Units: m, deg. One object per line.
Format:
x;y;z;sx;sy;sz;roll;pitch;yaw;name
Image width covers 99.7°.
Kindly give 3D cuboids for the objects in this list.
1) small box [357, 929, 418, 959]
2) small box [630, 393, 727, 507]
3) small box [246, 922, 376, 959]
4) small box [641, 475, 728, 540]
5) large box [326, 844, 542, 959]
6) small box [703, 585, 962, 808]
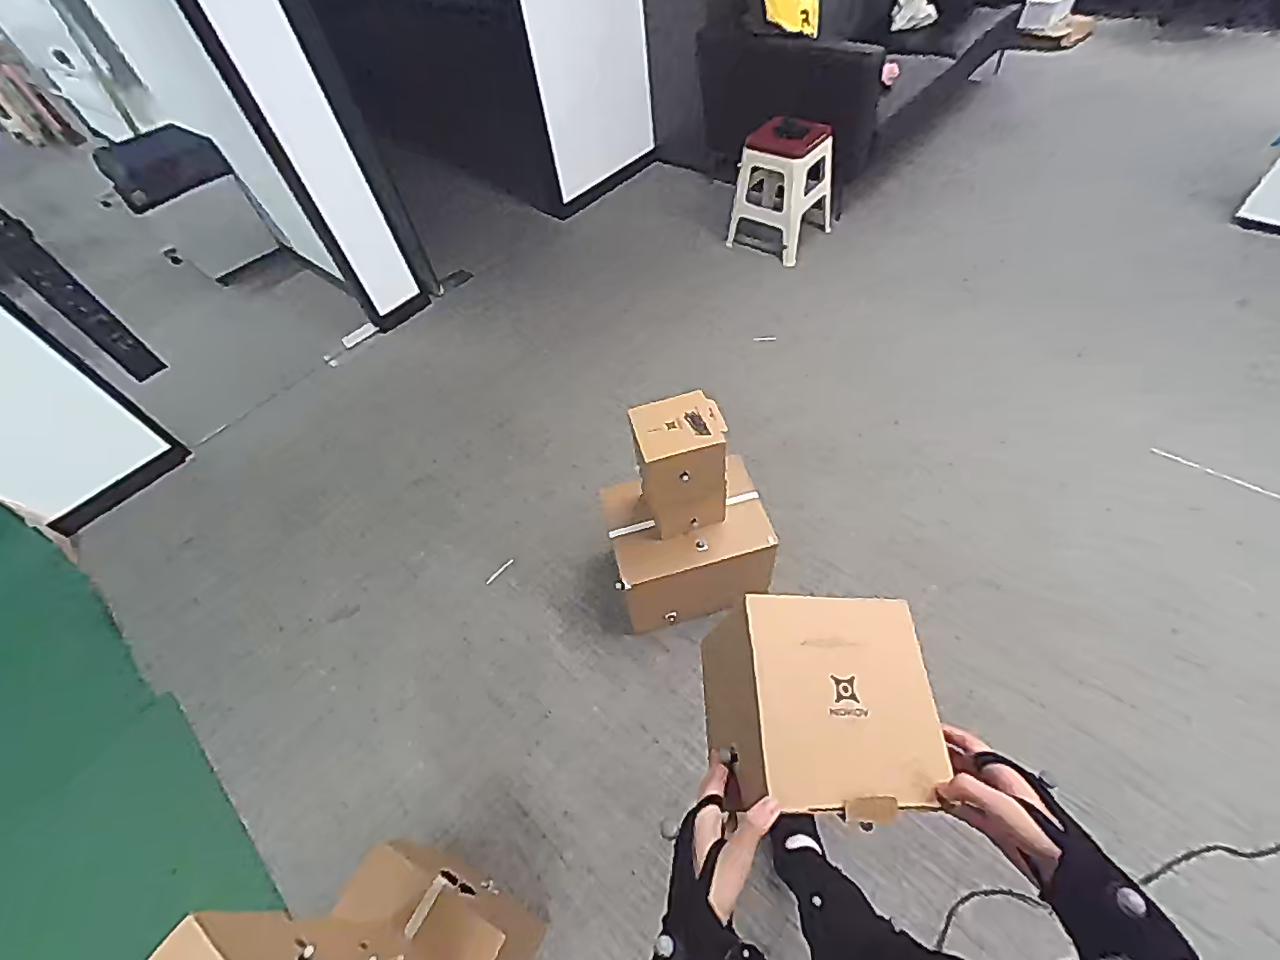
-0.423;0.813;0.809;0.179;0.176;0.168;25;59;23;small box
0.085;-0.063;1.214;0.179;0.176;0.168;-15;52;-3;small box
-0.442;0.710;0.686;0.168;0.176;0.179;27;59;24;small box
0.104;0.024;1.354;0.179;0.176;0.168;-17;51;-7;small box
-0.440;0.971;1.001;0.320;0.320;0.408;19;58;21;large box
0.166;0.219;0.532;0.168;0.176;0.179;5;58;-9;small box
